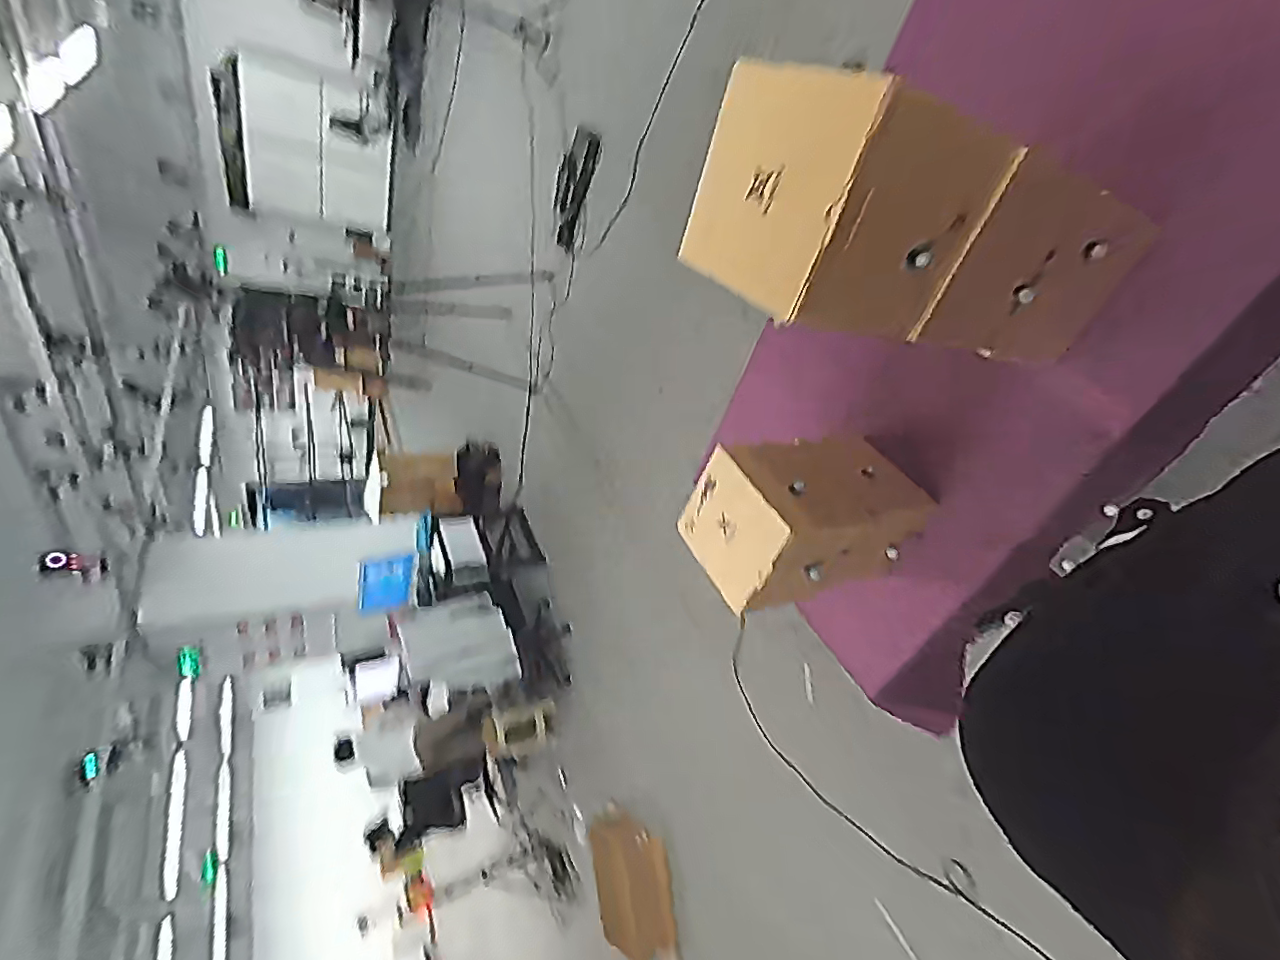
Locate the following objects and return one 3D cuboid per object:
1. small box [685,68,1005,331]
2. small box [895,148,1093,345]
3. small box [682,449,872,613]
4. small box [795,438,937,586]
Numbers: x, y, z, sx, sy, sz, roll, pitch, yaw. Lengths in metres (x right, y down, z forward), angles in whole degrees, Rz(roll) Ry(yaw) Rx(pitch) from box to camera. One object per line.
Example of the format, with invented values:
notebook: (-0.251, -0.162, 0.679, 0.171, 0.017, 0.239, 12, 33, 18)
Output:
small box: (0.176, -0.246, 0.496, 0.179, 0.176, 0.168, 50, 133, 42)
small box: (0.316, -0.254, 0.577, 0.179, 0.176, 0.168, 52, 135, 40)
small box: (0.197, 0.064, 0.793, 0.179, 0.176, 0.168, 55, 135, 38)
small box: (0.333, 0.047, 0.884, 0.179, 0.176, 0.168, 55, 136, 38)
